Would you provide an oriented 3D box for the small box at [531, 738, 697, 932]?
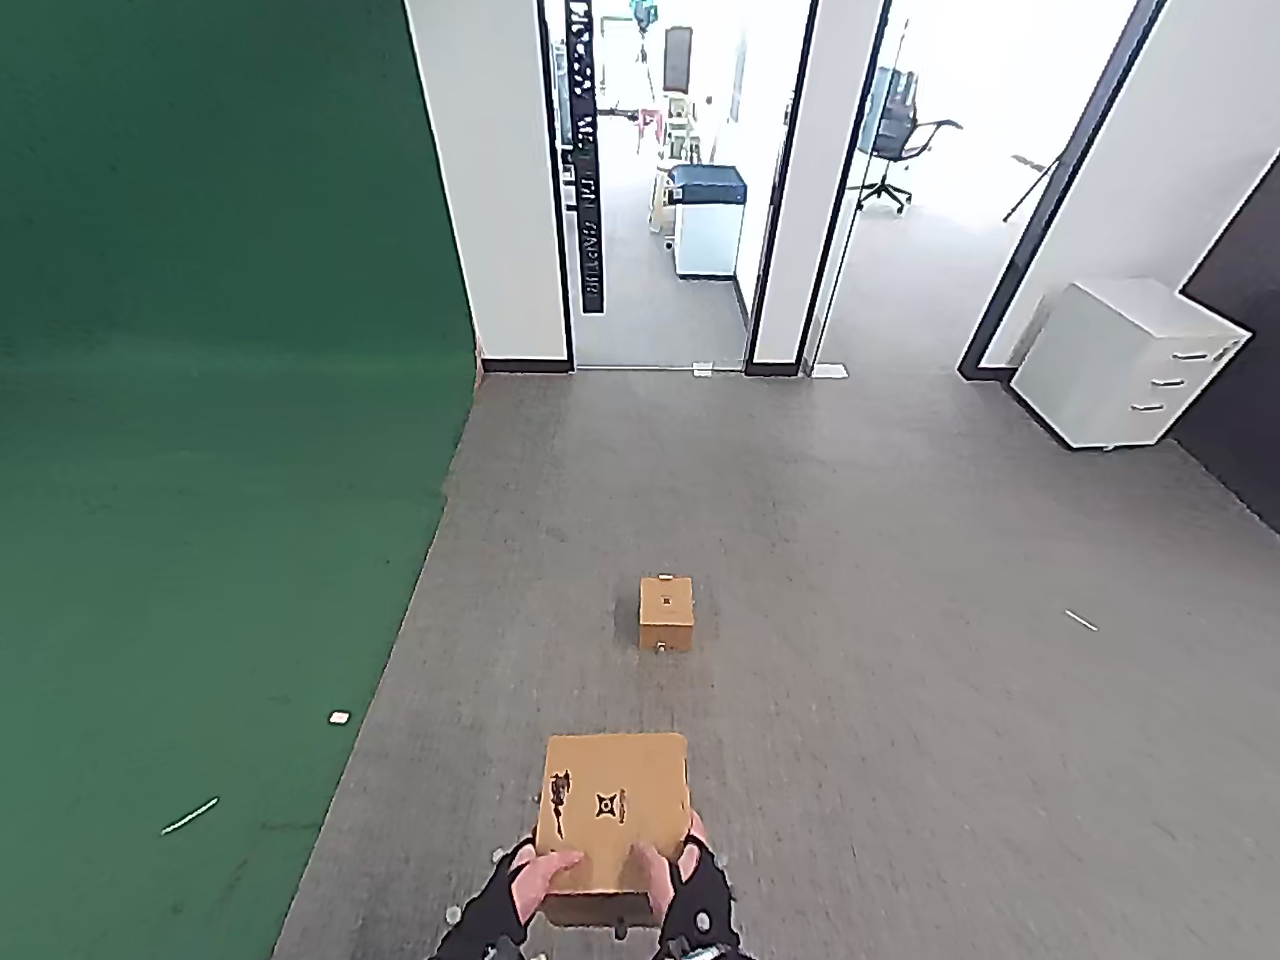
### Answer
[{"bbox_3d":[-0.024,0.442,0.676,0.179,0.176,0.168,-1,41,2],"label":"small box"}]

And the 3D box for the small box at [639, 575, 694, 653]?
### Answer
[{"bbox_3d":[0.085,0.425,1.720,0.168,0.176,0.179,1,44,3],"label":"small box"}]
